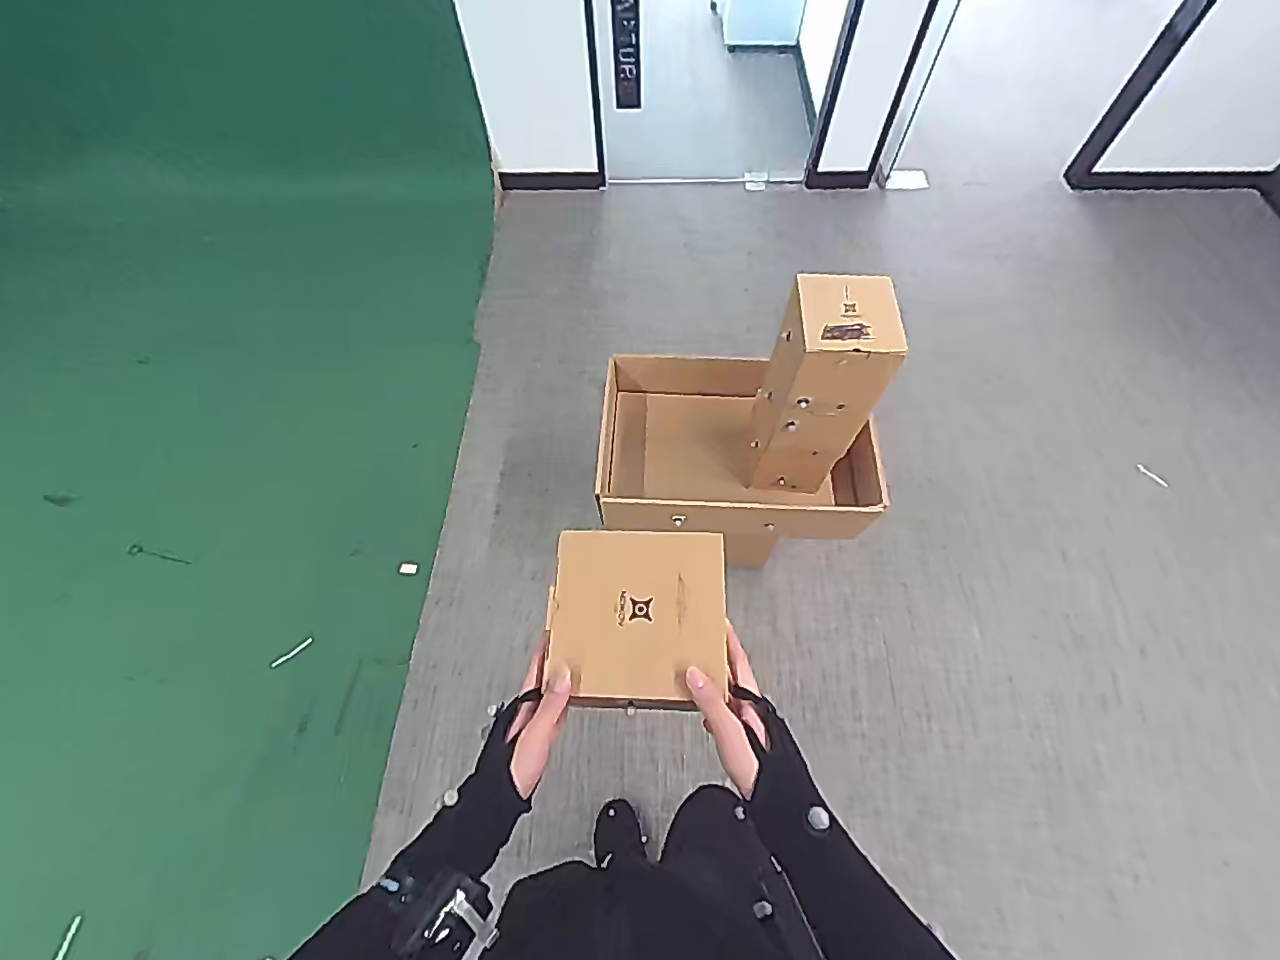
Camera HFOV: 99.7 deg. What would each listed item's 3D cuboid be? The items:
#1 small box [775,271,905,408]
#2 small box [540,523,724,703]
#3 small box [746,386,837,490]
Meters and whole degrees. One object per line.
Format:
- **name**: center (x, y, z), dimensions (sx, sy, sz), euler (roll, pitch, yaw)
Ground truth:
- **small box**: center (0.344, -0.245, 0.964), dimensions (0.168, 0.176, 0.179), euler (3, 62, 1)
- **small box**: center (0.001, 0.156, 0.608), dimensions (0.179, 0.176, 0.168), euler (1, 64, 4)
- **small box**: center (0.342, -0.095, 1.257), dimensions (0.168, 0.176, 0.179), euler (3, 63, 2)
